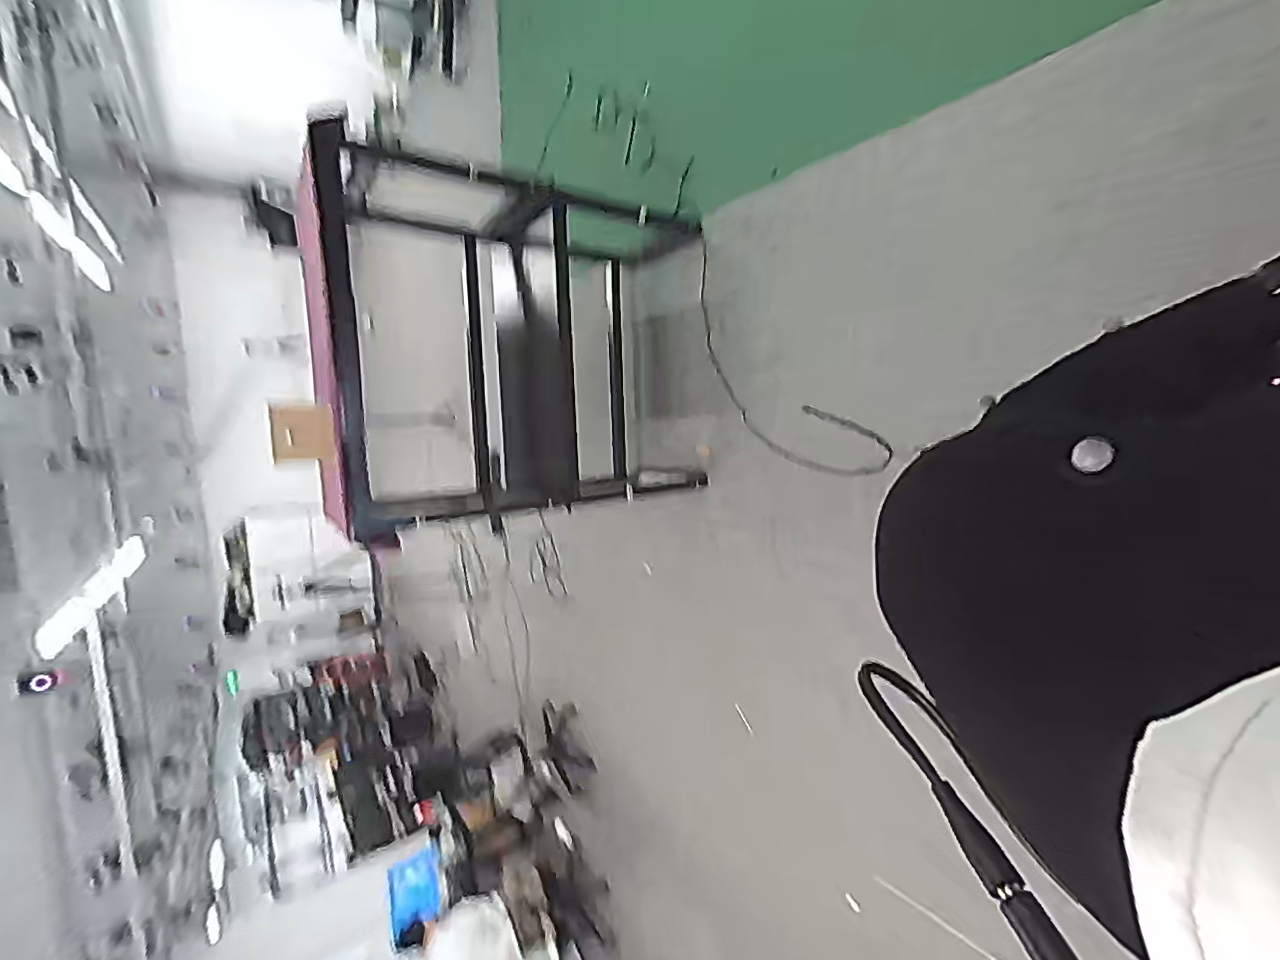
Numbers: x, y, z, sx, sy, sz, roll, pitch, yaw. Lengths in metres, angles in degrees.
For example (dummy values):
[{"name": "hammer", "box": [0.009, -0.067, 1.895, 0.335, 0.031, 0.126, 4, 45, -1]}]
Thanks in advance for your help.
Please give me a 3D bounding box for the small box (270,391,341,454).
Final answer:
[{"name": "small box", "box": [-1.002, -0.175, 1.620, 0.168, 0.176, 0.179, 14, 105, 54]}]
